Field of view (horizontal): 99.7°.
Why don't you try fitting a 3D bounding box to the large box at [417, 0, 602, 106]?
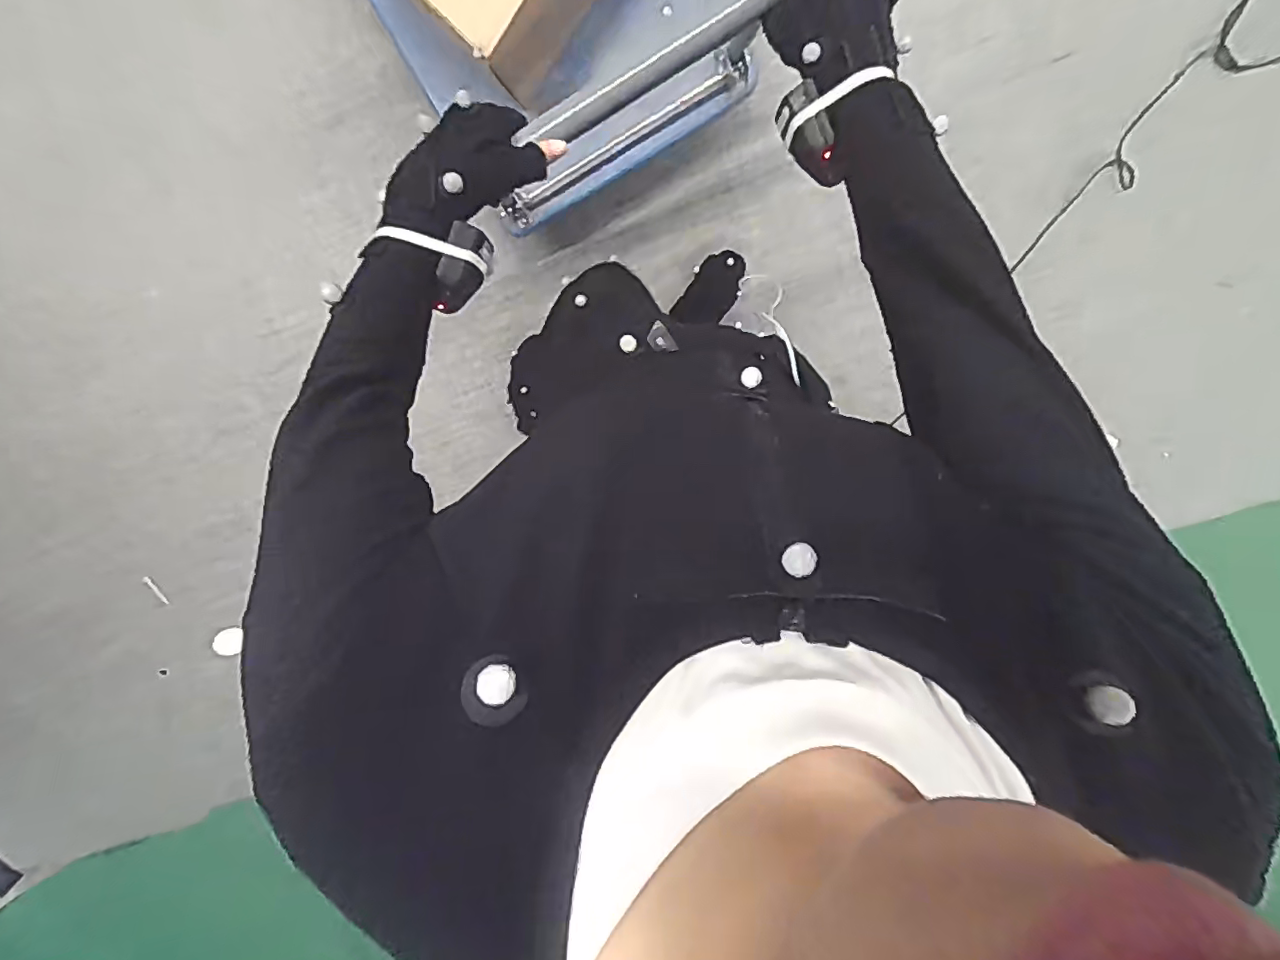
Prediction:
[{"bbox_3d":[-0.191,-0.883,0.807,0.320,0.320,0.408,38,109,-15],"label":"large box"}]
